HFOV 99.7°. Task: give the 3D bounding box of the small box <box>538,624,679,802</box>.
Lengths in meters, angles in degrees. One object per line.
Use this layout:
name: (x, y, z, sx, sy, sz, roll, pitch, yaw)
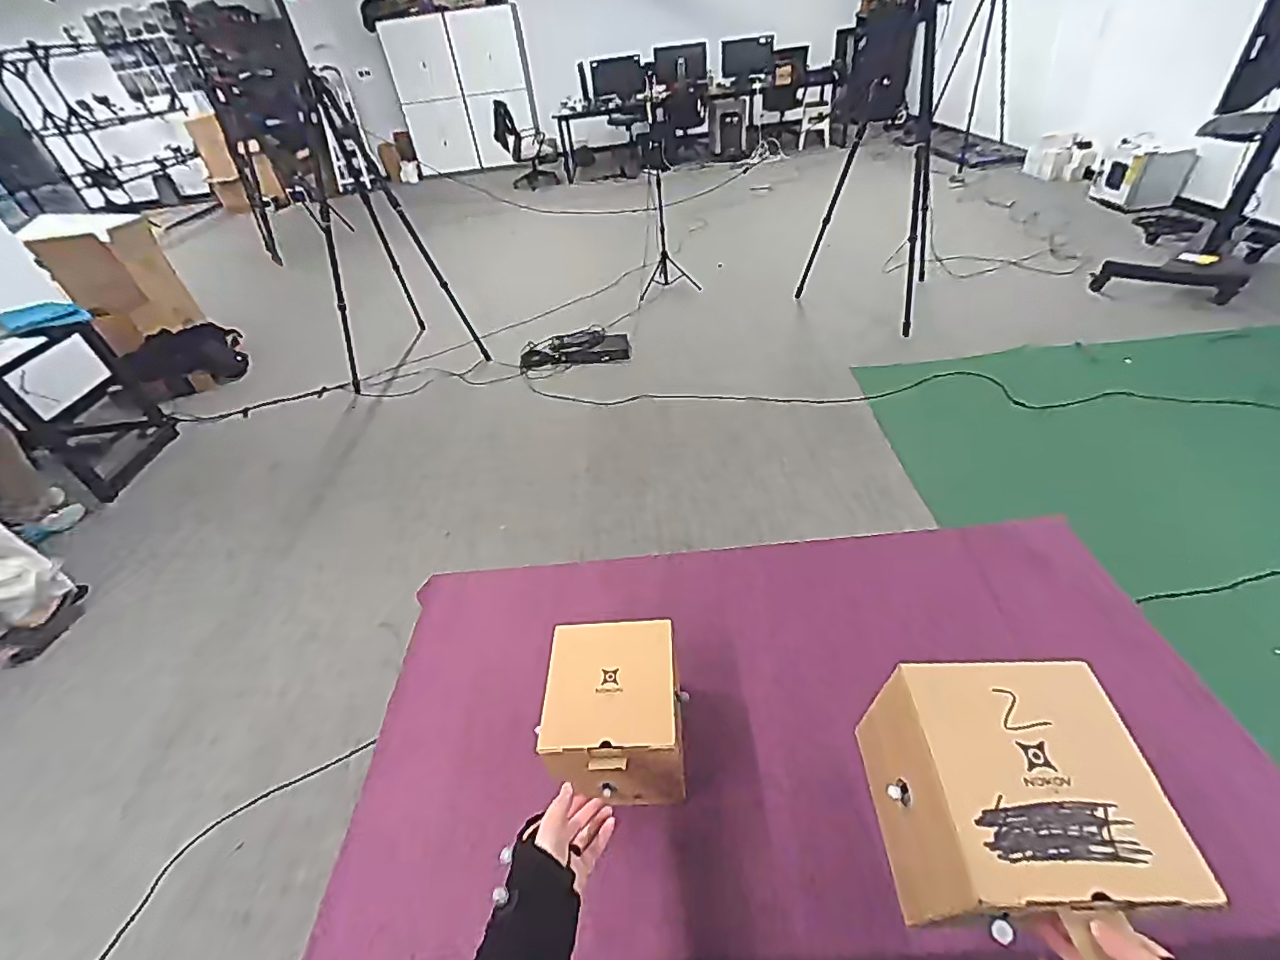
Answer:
small box: (-0.033, 0.325, 0.757, 0.168, 0.176, 0.179, -4, 41, 4)
